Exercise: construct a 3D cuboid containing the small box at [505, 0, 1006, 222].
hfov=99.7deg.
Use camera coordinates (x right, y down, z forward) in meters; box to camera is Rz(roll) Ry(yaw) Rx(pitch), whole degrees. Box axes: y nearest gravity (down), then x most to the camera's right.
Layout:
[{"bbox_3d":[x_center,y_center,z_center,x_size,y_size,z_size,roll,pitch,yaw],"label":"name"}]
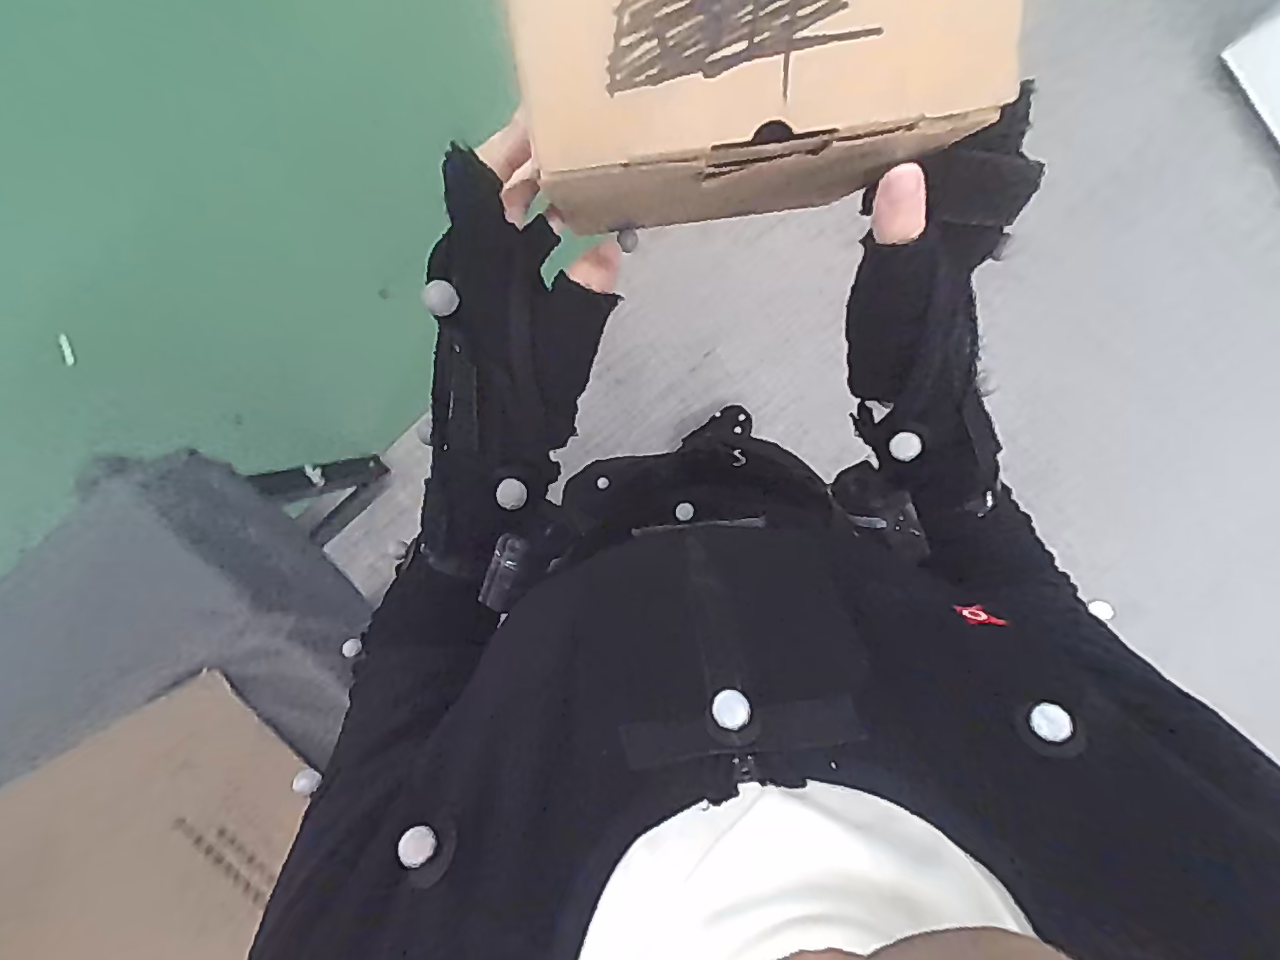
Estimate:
[{"bbox_3d":[0.033,-0.223,0.240,0.168,0.176,0.179,-7,107,2],"label":"small box"}]
